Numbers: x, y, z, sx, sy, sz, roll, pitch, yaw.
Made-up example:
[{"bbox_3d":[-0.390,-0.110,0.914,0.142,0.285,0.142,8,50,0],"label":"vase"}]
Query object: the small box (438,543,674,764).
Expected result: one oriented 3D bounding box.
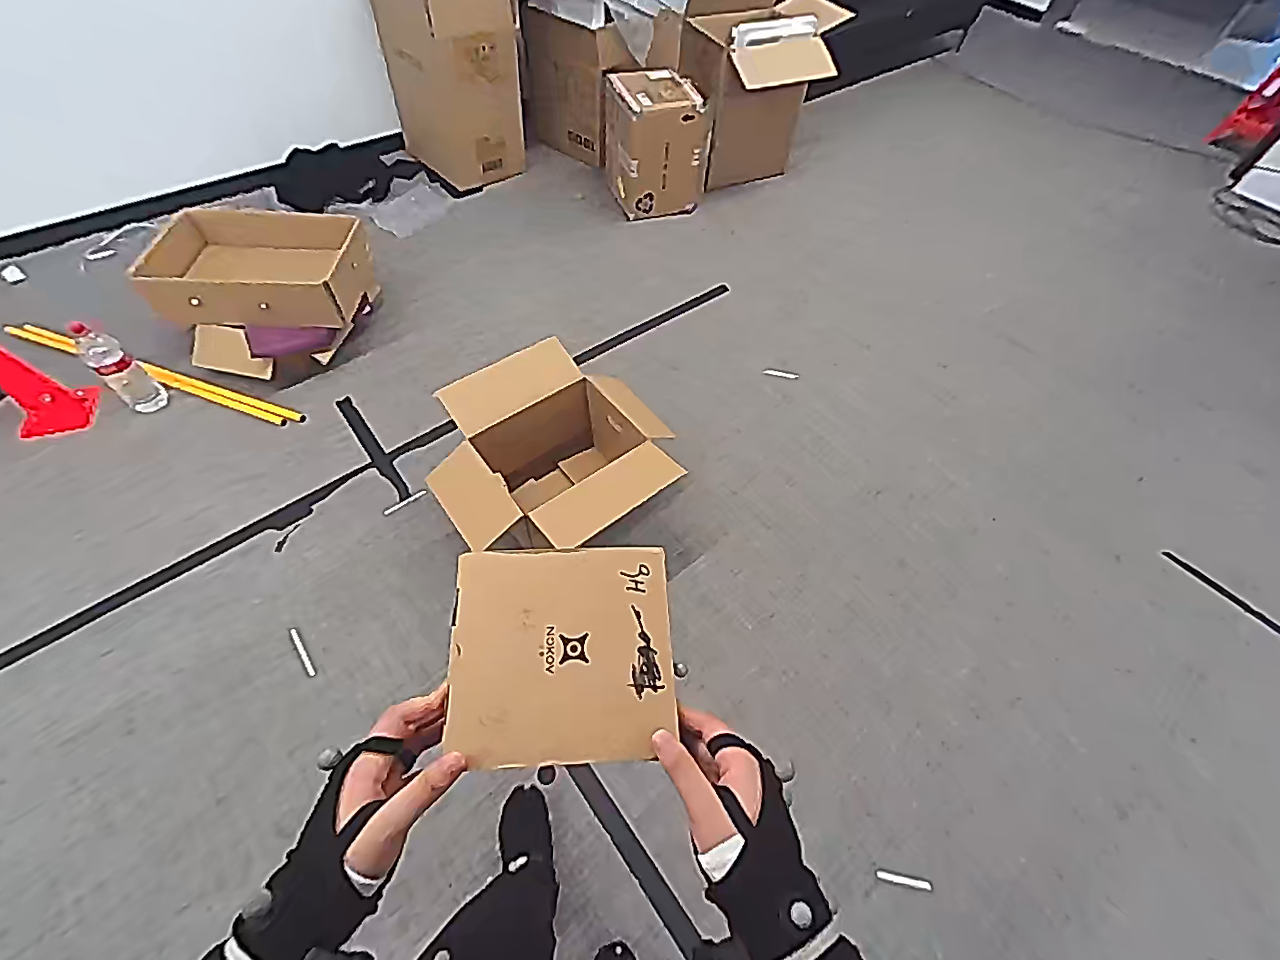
[{"bbox_3d":[-0.068,0.167,0.503,0.179,0.176,0.168,-1,62,-5],"label":"small box"}]
